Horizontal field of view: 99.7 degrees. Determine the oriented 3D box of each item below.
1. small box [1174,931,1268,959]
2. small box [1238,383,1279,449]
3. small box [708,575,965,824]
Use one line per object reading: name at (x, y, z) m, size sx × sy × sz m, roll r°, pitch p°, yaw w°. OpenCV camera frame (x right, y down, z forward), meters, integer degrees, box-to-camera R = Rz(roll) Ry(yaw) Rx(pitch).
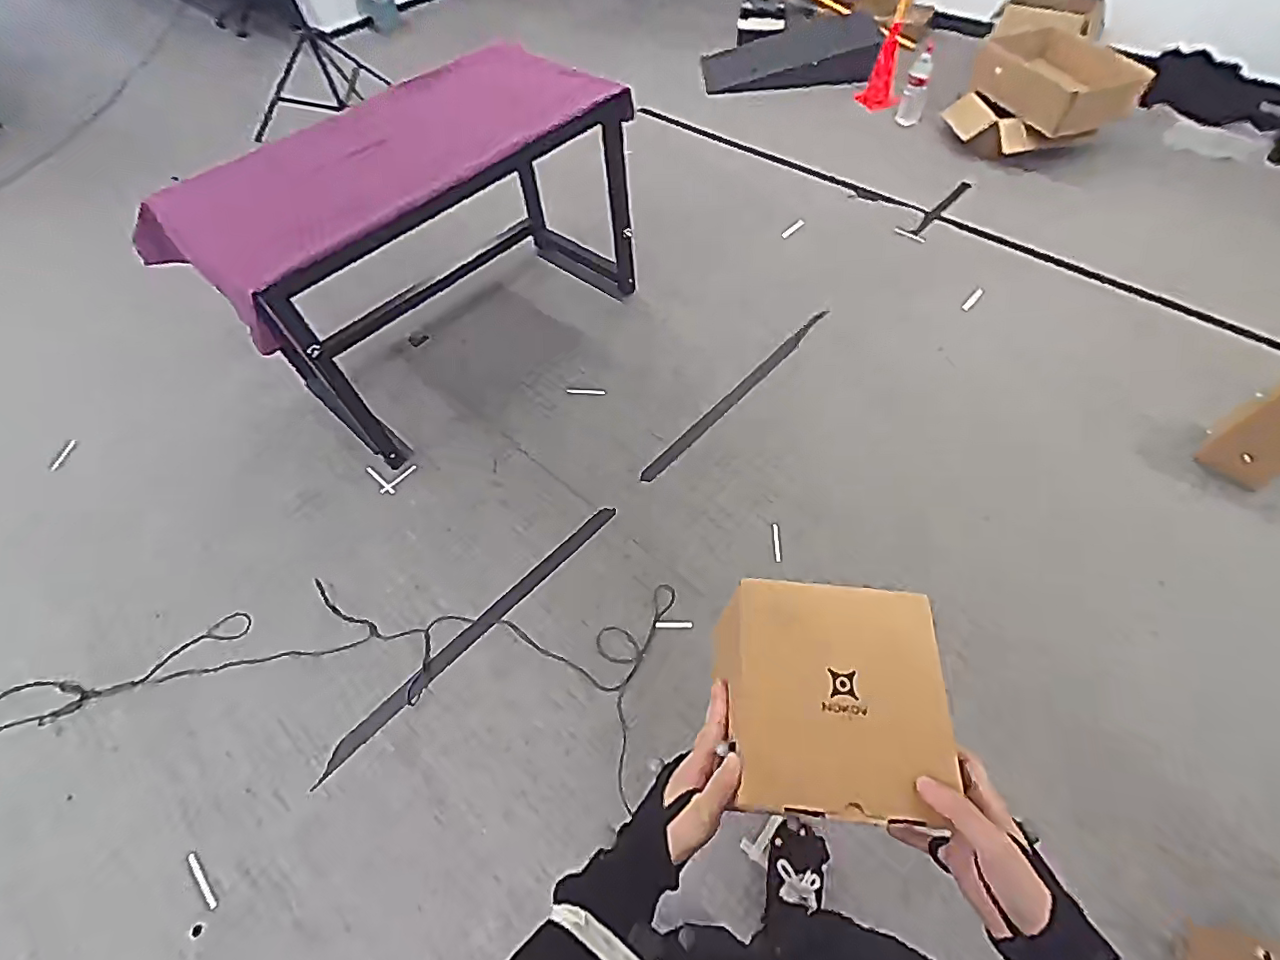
small box at (1.105, 0.957, 0.968) m, size 0.179 × 0.176 × 0.168 m, roll 33°, pitch 66°, yaw 21°
small box at (1.806, -0.184, 1.456) m, size 0.168 × 0.176 × 0.179 m, roll -39°, pitch 62°, yaw -20°
small box at (0.156, 0.205, 0.499) m, size 0.168 × 0.176 × 0.179 m, roll 5°, pitch 60°, yaw 0°
